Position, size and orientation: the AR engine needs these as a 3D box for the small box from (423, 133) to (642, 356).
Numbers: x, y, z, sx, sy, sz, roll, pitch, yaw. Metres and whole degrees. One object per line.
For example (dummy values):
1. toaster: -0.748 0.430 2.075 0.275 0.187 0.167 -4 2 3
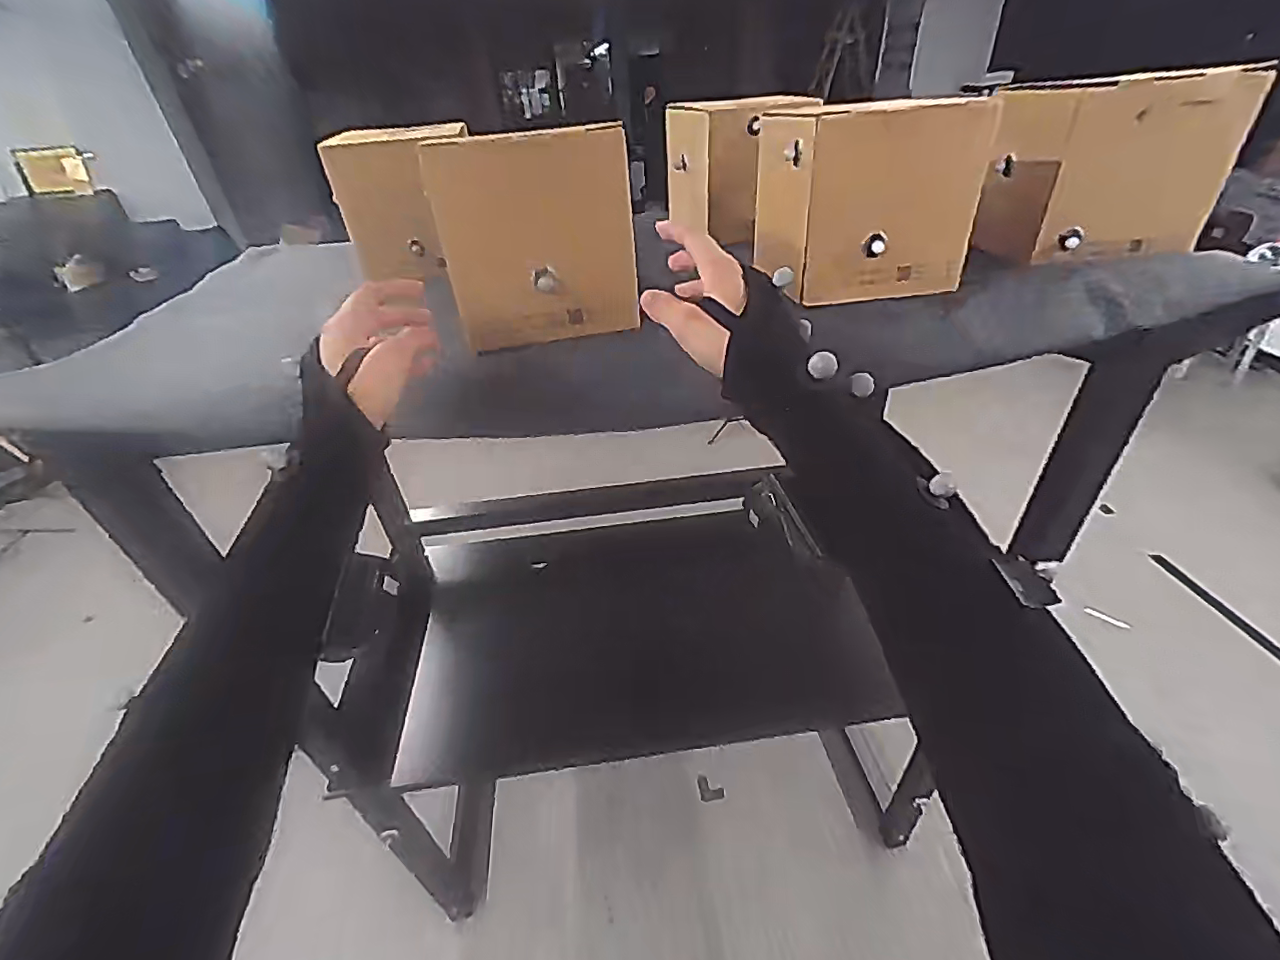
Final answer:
1. small box: -0.098 -0.236 0.536 0.168 0.176 0.179 -11 34 -7

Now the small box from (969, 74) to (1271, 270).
1. small box: 0.502 -0.340 0.608 0.168 0.176 0.179 -2 34 4

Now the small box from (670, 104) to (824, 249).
1. small box: 0.148 -0.457 0.812 0.168 0.176 0.179 -13 37 -11

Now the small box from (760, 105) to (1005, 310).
1. small box: 0.232 -0.291 0.576 0.168 0.176 0.179 -7 35 -3
